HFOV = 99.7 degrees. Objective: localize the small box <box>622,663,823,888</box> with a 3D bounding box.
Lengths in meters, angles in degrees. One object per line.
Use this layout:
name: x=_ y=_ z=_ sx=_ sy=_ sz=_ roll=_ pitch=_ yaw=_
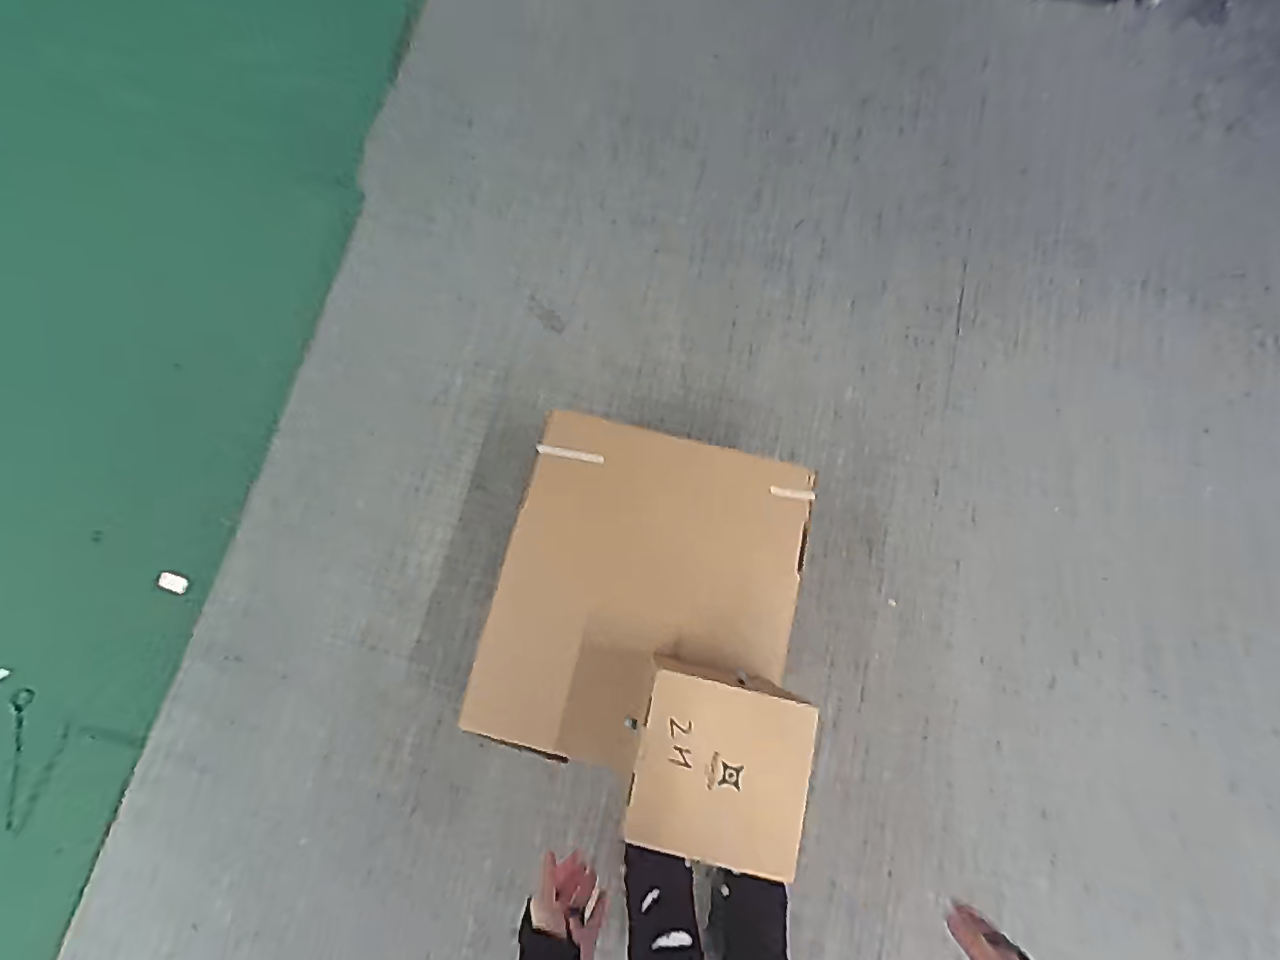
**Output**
small box: x=0.084 y=0.316 z=0.619 sx=0.179 sy=0.176 sz=0.168 roll=14 pitch=77 yaw=3
